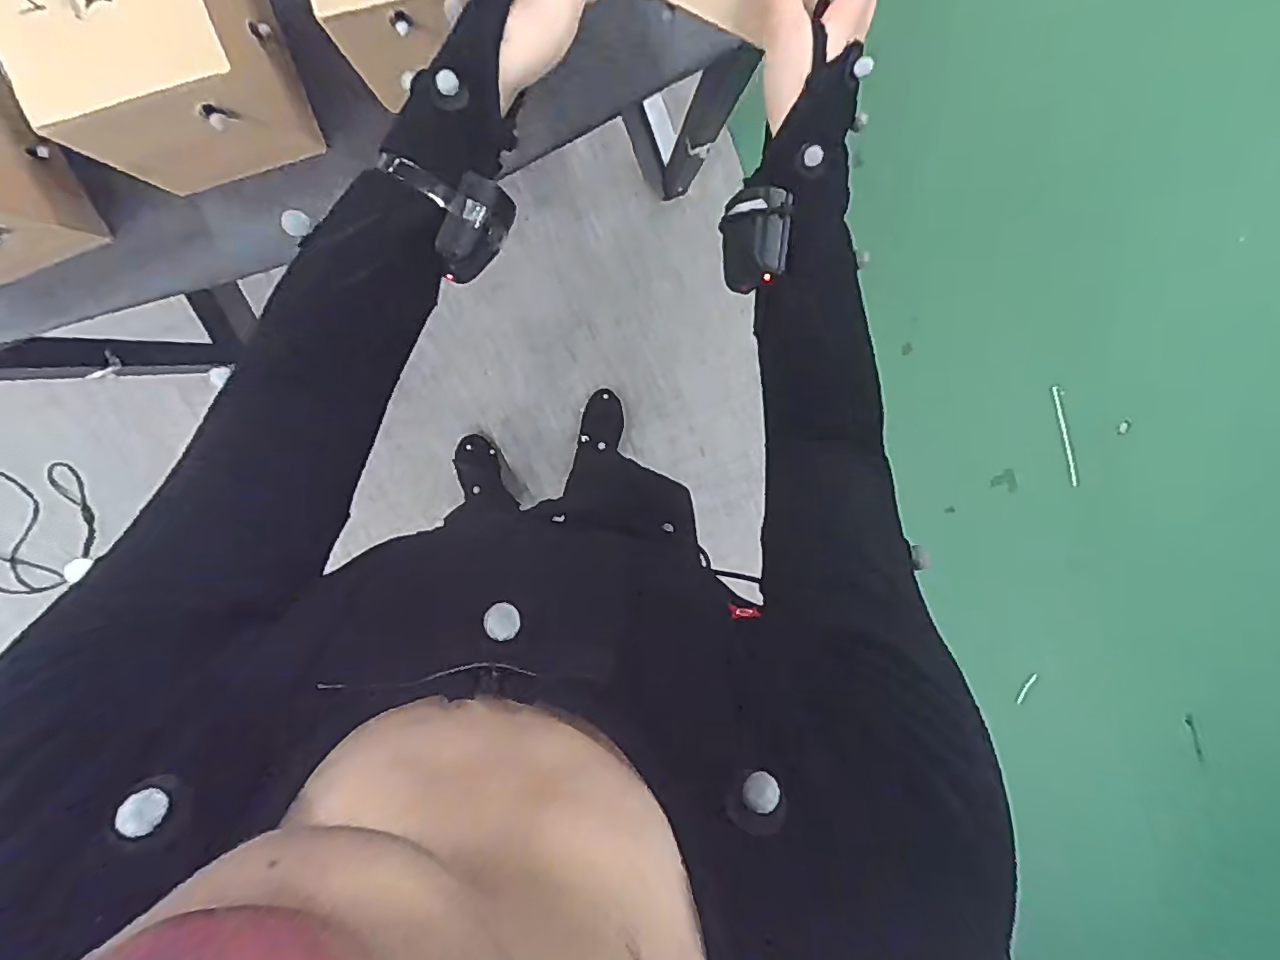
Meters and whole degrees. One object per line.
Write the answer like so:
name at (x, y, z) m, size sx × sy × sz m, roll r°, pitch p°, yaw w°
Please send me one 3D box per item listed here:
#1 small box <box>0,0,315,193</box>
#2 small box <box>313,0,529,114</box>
small box at (-0.449, -0.404, 0.516) m, size 0.179 × 0.176 × 0.168 m, roll -18°, pitch 102°, yaw -1°
small box at (-0.214, -0.497, 0.517) m, size 0.168 × 0.176 × 0.179 m, roll -14°, pitch 101°, yaw -2°
